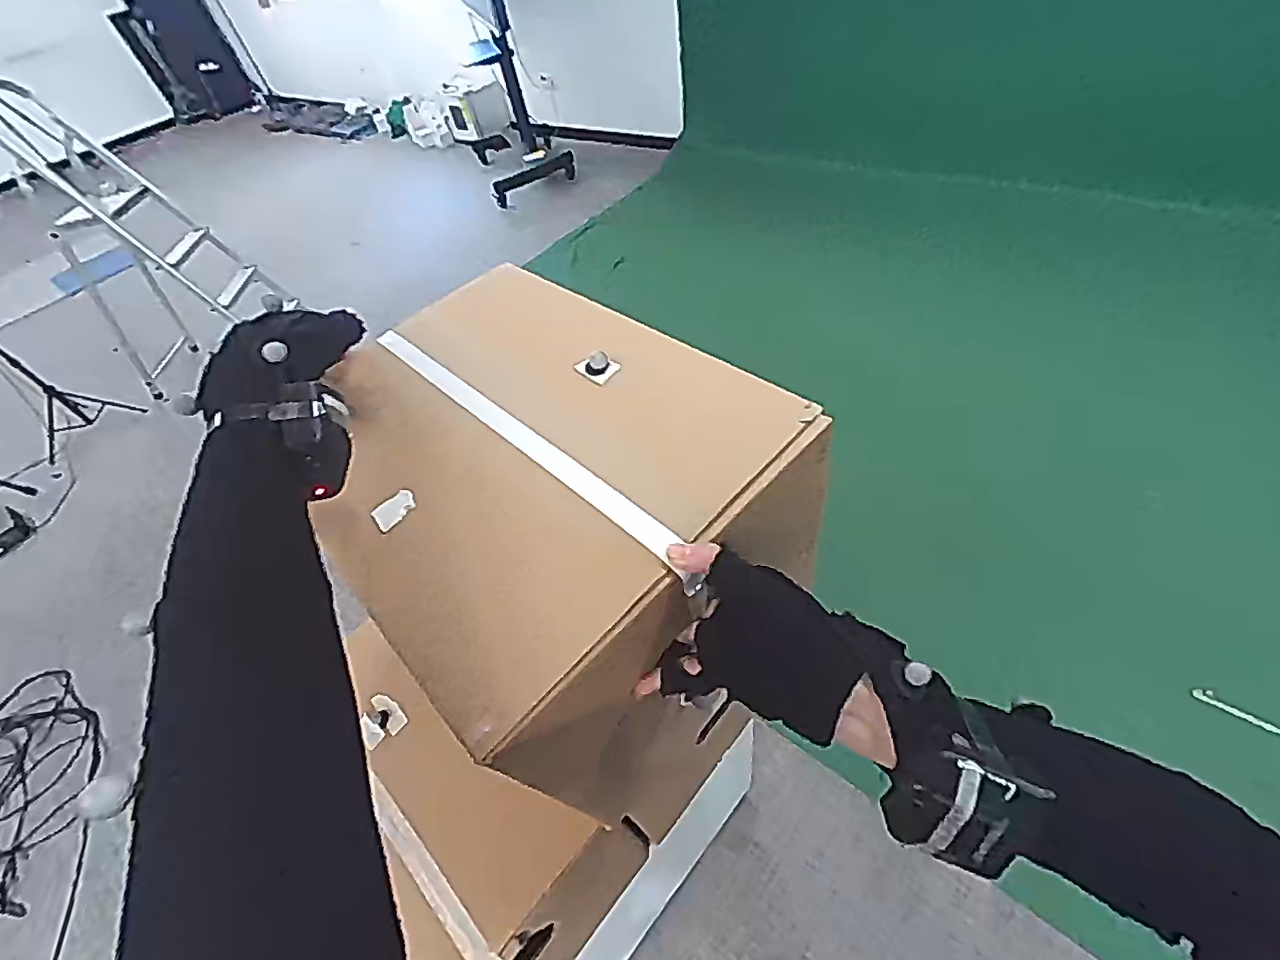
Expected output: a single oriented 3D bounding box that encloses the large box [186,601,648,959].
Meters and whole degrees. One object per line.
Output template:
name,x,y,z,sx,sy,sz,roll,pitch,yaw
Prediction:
large box,-0.253,0.437,0.689,0.408,0.320,0.320,30,61,33
